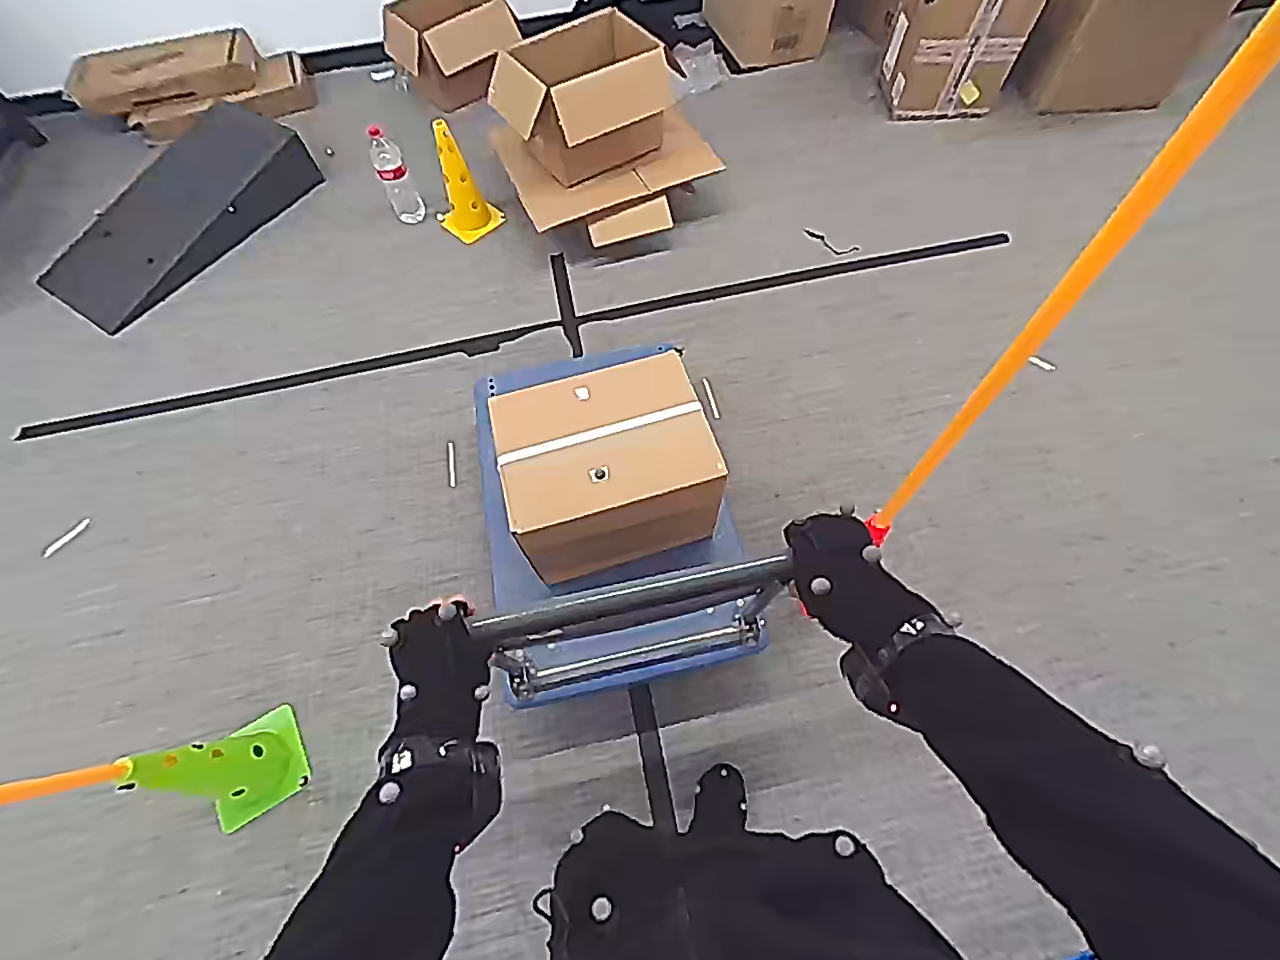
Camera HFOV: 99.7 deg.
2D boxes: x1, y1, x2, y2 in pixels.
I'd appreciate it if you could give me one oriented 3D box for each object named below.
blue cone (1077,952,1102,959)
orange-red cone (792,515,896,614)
[{"bbox_3d":[0.809,0.925,0.837,0.193,0.380,0.192,-15,62,-6],"label":"blue cone"},{"bbox_3d":[0.494,0.162,1.224,0.199,0.360,0.198,-5,63,-2],"label":"orange-red cone"}]
